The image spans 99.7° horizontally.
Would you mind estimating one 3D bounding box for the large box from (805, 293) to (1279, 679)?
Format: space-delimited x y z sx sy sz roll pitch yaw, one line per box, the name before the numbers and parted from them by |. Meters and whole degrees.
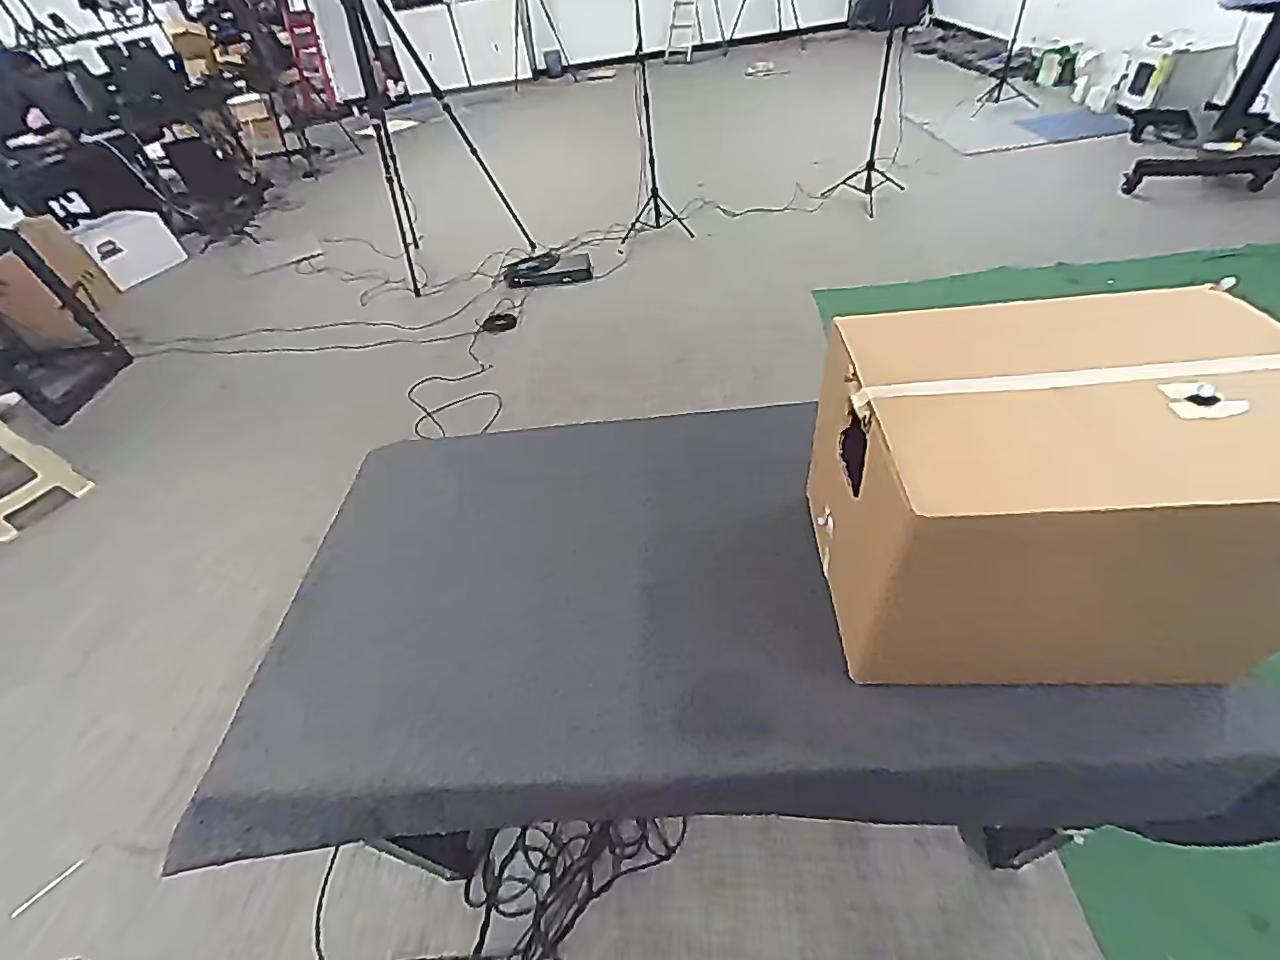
large box | 0.435 0.013 0.619 0.408 0.320 0.320 -2 46 6
